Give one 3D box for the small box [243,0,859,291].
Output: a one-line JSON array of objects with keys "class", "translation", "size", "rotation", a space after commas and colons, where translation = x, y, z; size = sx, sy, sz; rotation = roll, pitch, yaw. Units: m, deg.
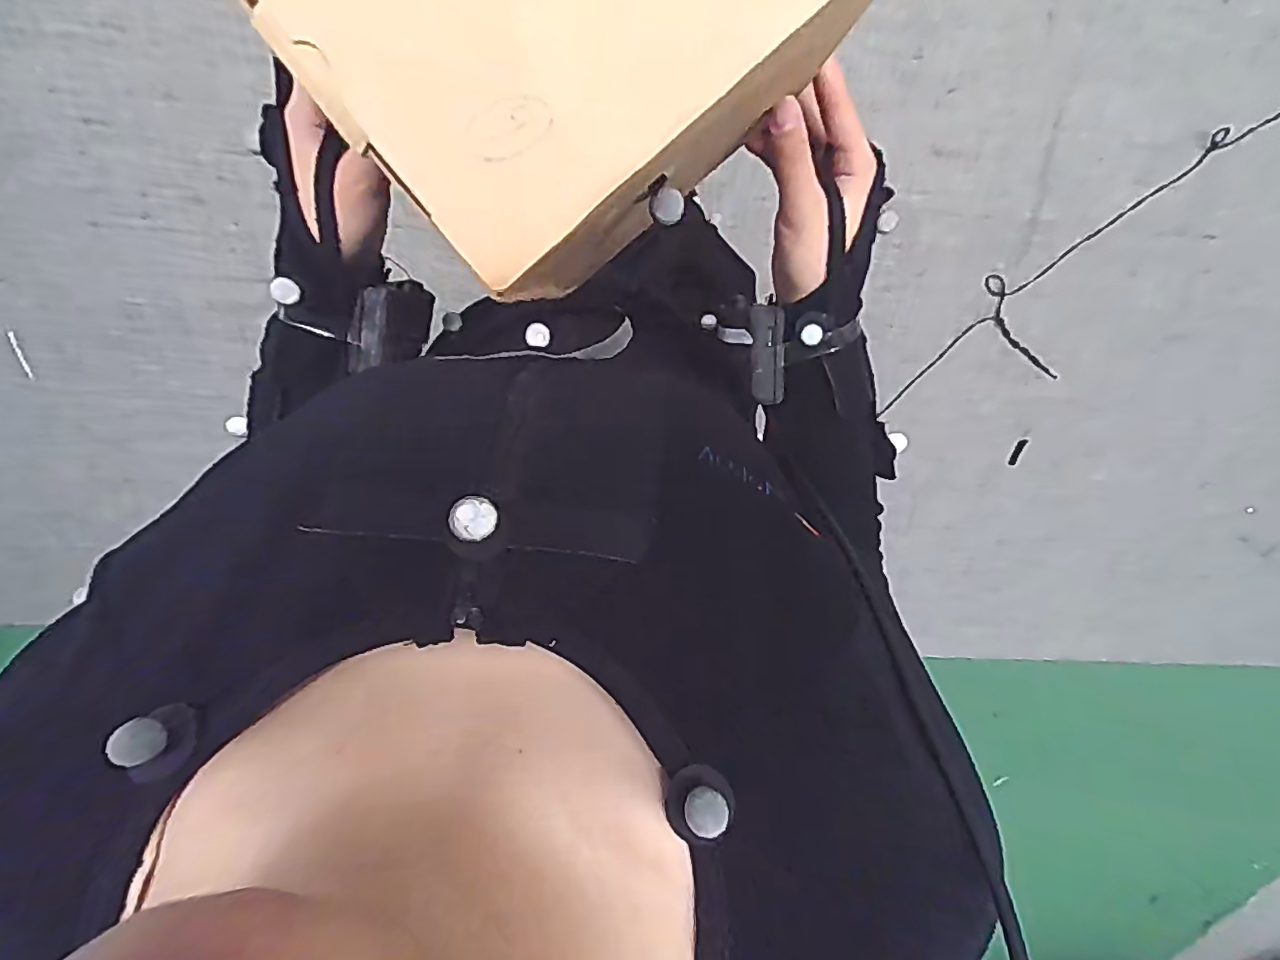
[{"class": "small box", "translation": [-0.029, -0.197, 0.224], "size": [0.179, 0.176, 0.168], "rotation": [-36, 105, 12]}]
